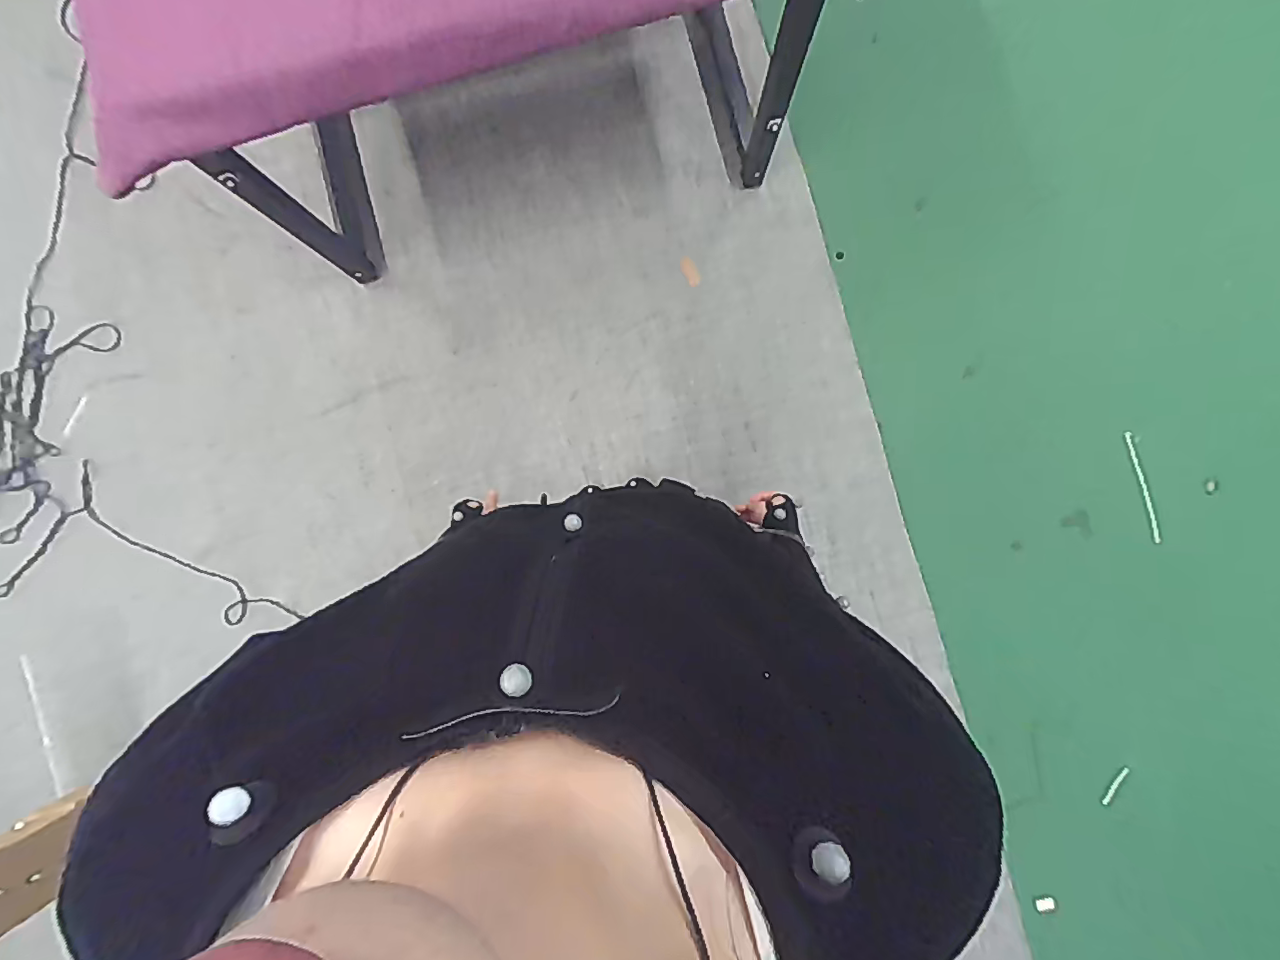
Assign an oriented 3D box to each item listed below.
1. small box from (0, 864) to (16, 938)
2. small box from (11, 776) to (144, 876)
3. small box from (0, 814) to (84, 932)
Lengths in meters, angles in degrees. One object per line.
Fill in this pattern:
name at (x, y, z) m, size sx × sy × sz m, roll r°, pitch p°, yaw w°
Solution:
small box at (-1.475, 0.926, 1.115) m, size 0.168 × 0.176 × 0.179 m, roll -18°, pitch 88°, yaw 0°
small box at (-1.486, 0.933, 1.442) m, size 0.168 × 0.176 × 0.179 m, roll -17°, pitch 88°, yaw 0°
small box at (-1.486, 0.939, 1.278) m, size 0.168 × 0.176 × 0.179 m, roll -16°, pitch 88°, yaw -1°
